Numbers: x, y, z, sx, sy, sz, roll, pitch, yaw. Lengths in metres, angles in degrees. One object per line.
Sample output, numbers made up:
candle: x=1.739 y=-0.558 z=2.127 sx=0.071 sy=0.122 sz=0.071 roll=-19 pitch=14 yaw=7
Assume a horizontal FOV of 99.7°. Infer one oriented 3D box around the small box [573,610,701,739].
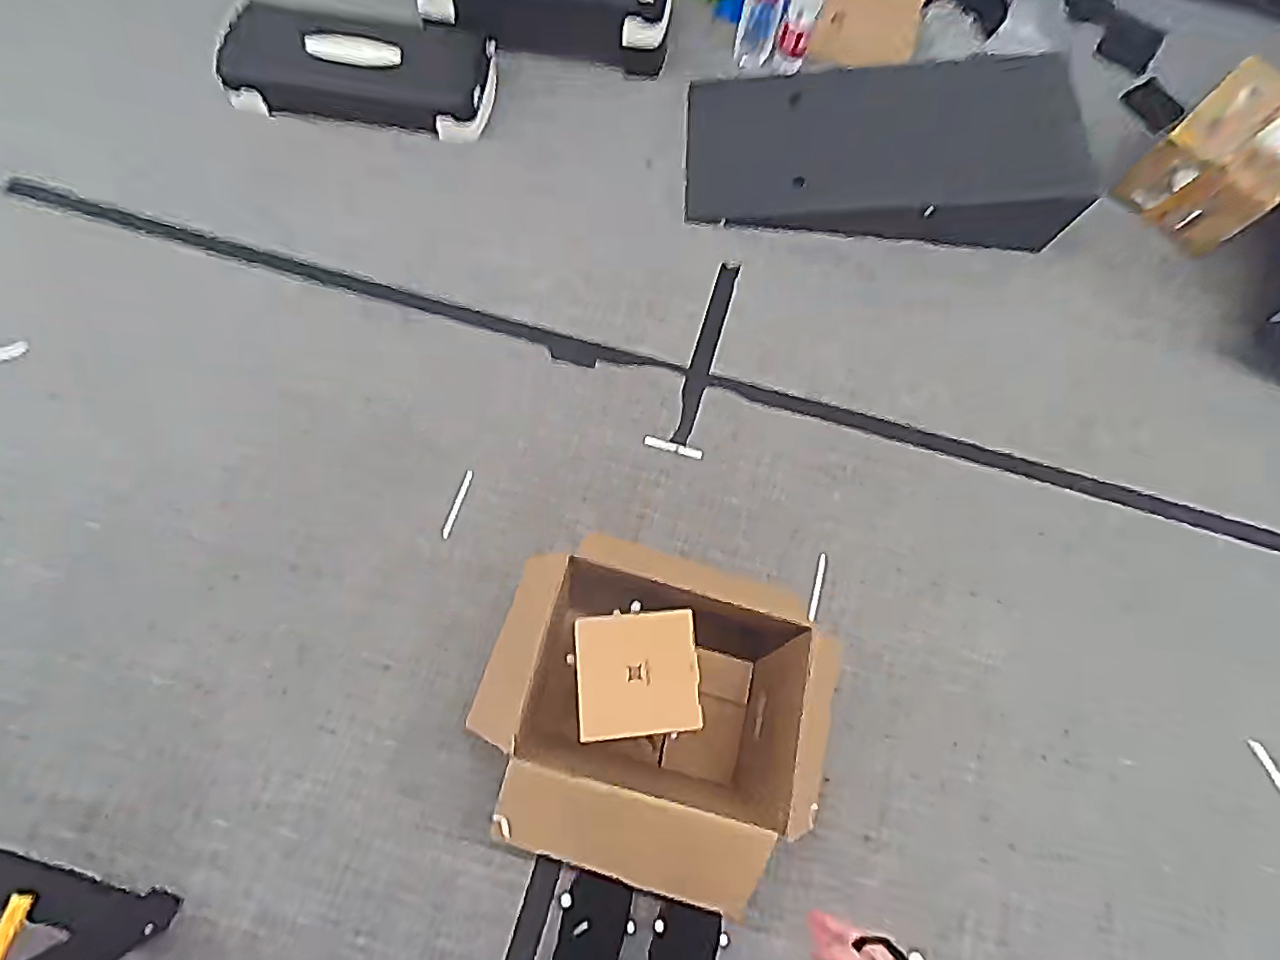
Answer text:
small box: x=-0.014 y=0.297 z=0.851 sx=0.179 sy=0.176 sz=0.168 roll=-3 pitch=76 yaw=-9
